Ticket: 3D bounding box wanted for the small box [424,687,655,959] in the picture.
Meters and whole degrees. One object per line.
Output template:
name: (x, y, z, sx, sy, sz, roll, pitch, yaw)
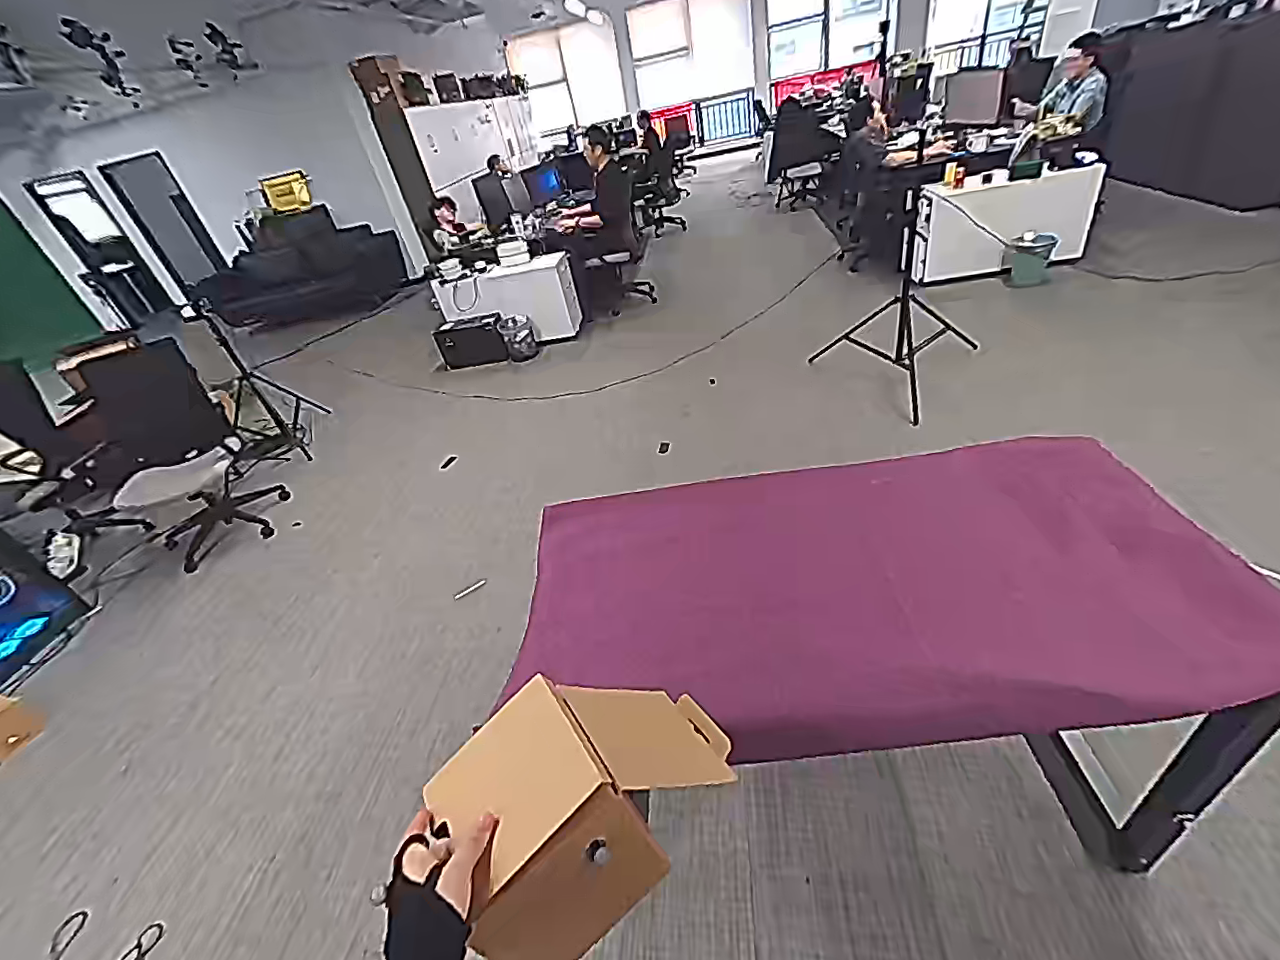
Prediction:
small box: (-0.101, 0.376, 0.589, 0.179, 0.176, 0.168, -33, 31, -17)
